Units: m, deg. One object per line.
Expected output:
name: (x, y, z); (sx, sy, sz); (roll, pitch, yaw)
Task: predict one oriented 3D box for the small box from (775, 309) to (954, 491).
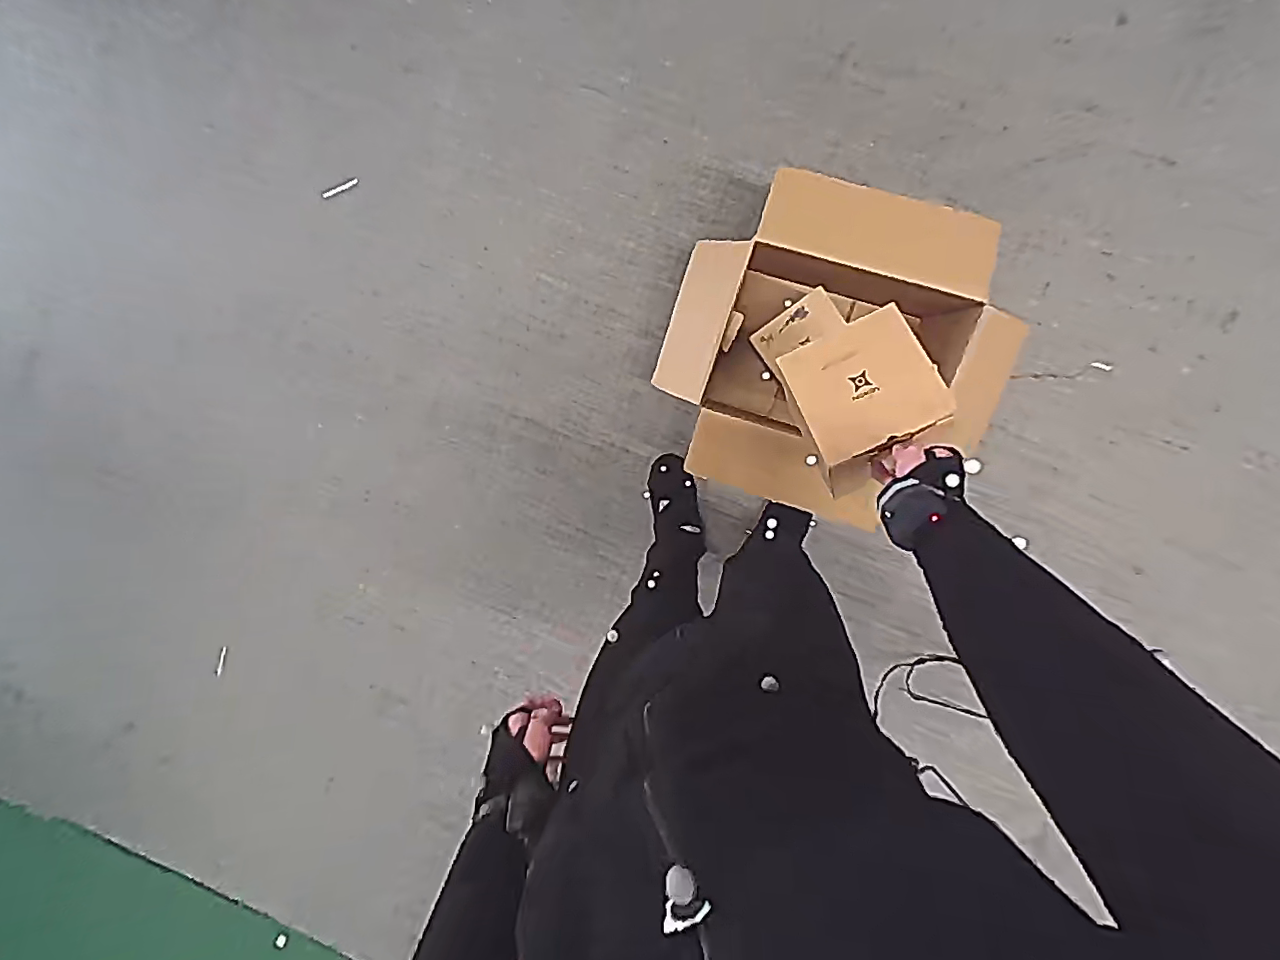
small box: (0.312, -0.098, 0.770); (0.168, 0.176, 0.179); (-24, 64, 13)
